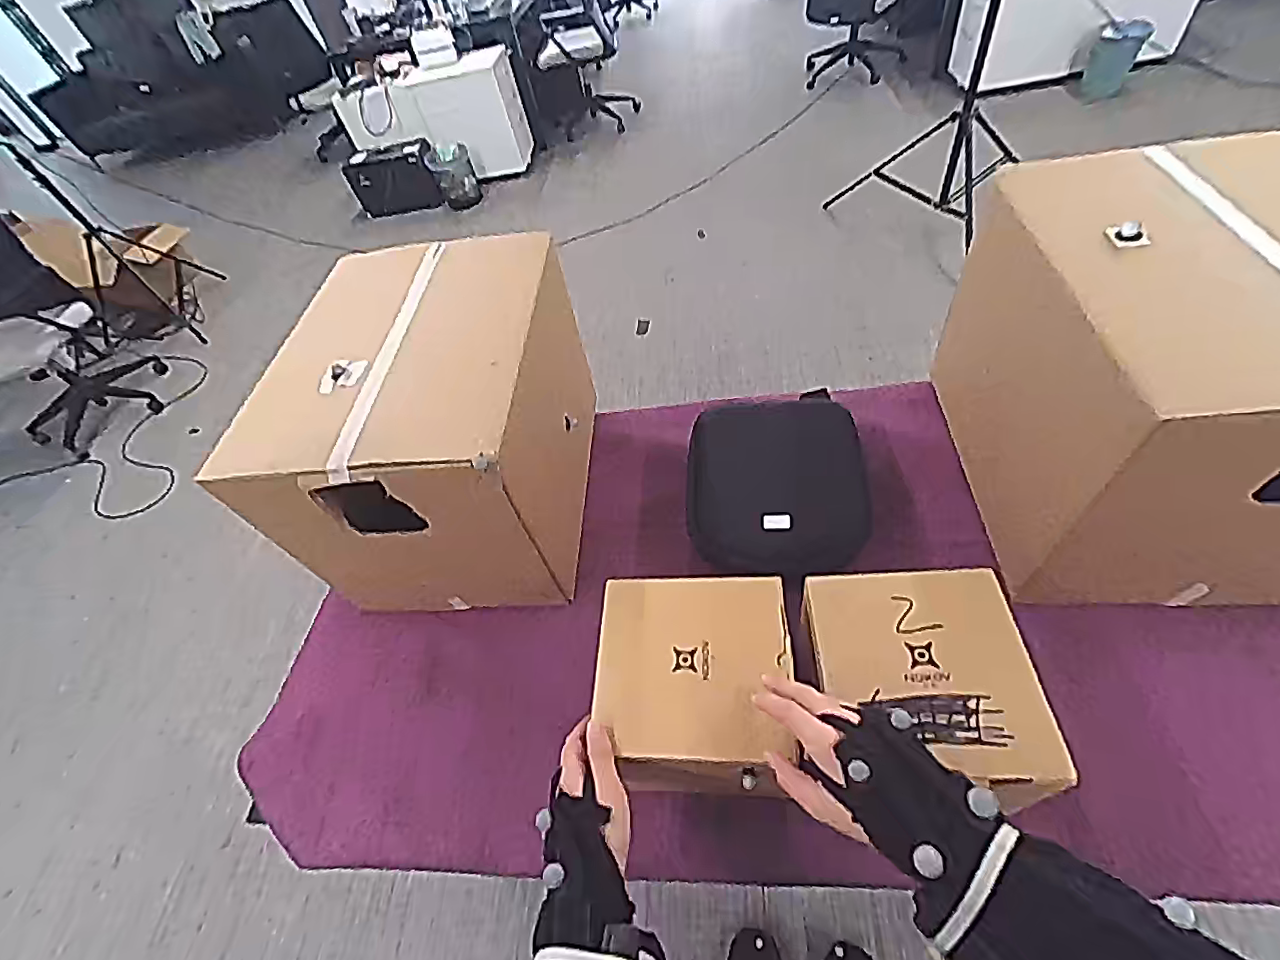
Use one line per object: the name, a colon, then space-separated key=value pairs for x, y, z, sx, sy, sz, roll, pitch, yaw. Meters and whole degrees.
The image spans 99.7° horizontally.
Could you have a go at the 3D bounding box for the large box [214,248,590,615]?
large box: x=-0.255 y=-0.062 z=0.755 sx=0.320 sy=0.320 sz=0.408 roll=-5 pitch=53 yaw=7
